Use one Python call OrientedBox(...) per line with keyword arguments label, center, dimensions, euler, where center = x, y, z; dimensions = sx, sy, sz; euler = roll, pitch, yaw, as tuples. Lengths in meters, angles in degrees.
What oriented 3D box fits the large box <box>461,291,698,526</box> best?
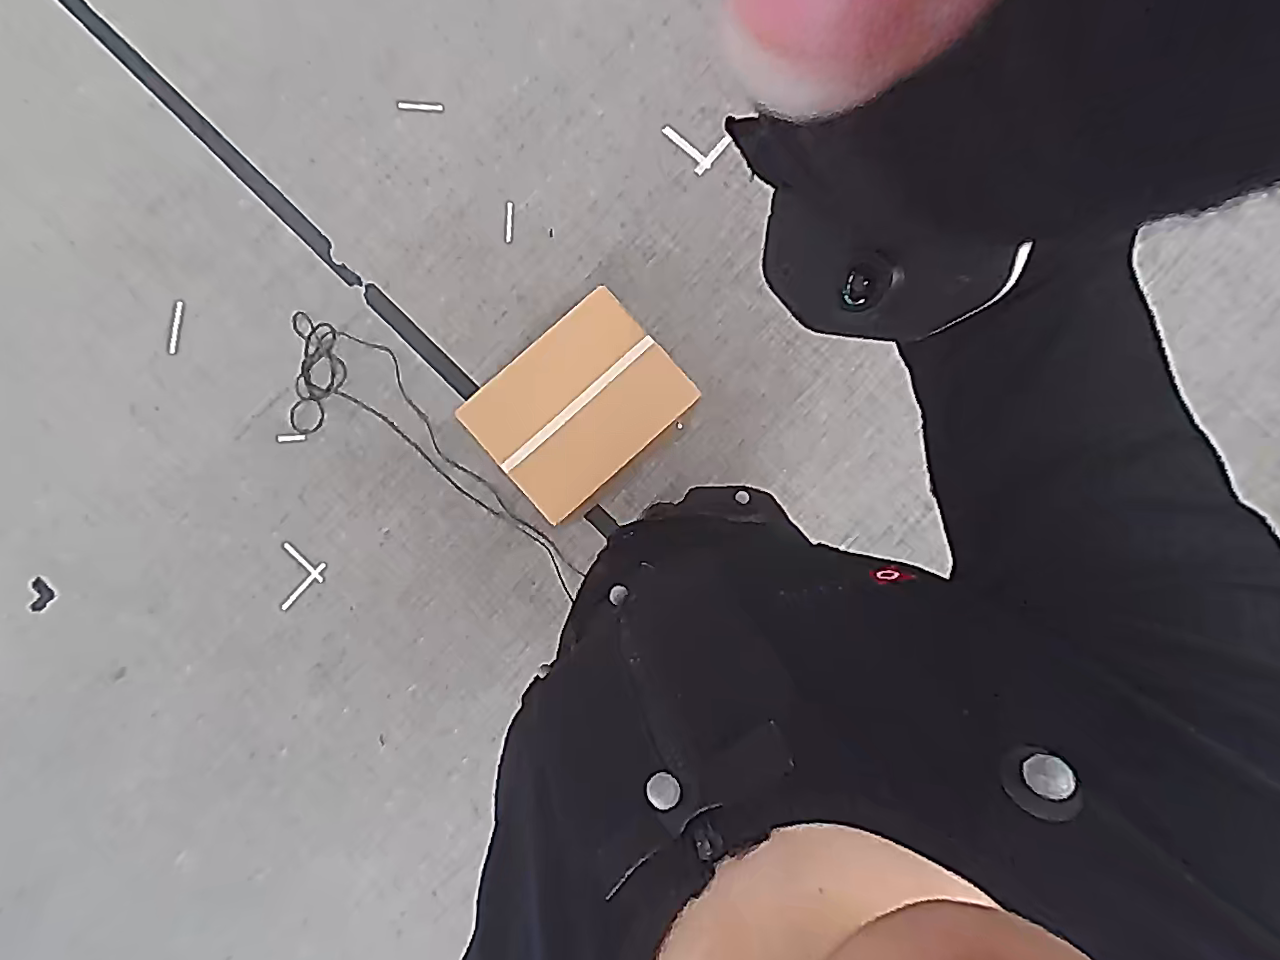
OrientedBox(label="large box", center=(-0.123, -0.143, 1.254), dimensions=(0.408, 0.320, 0.320), euler=(-42, 87, -2))
